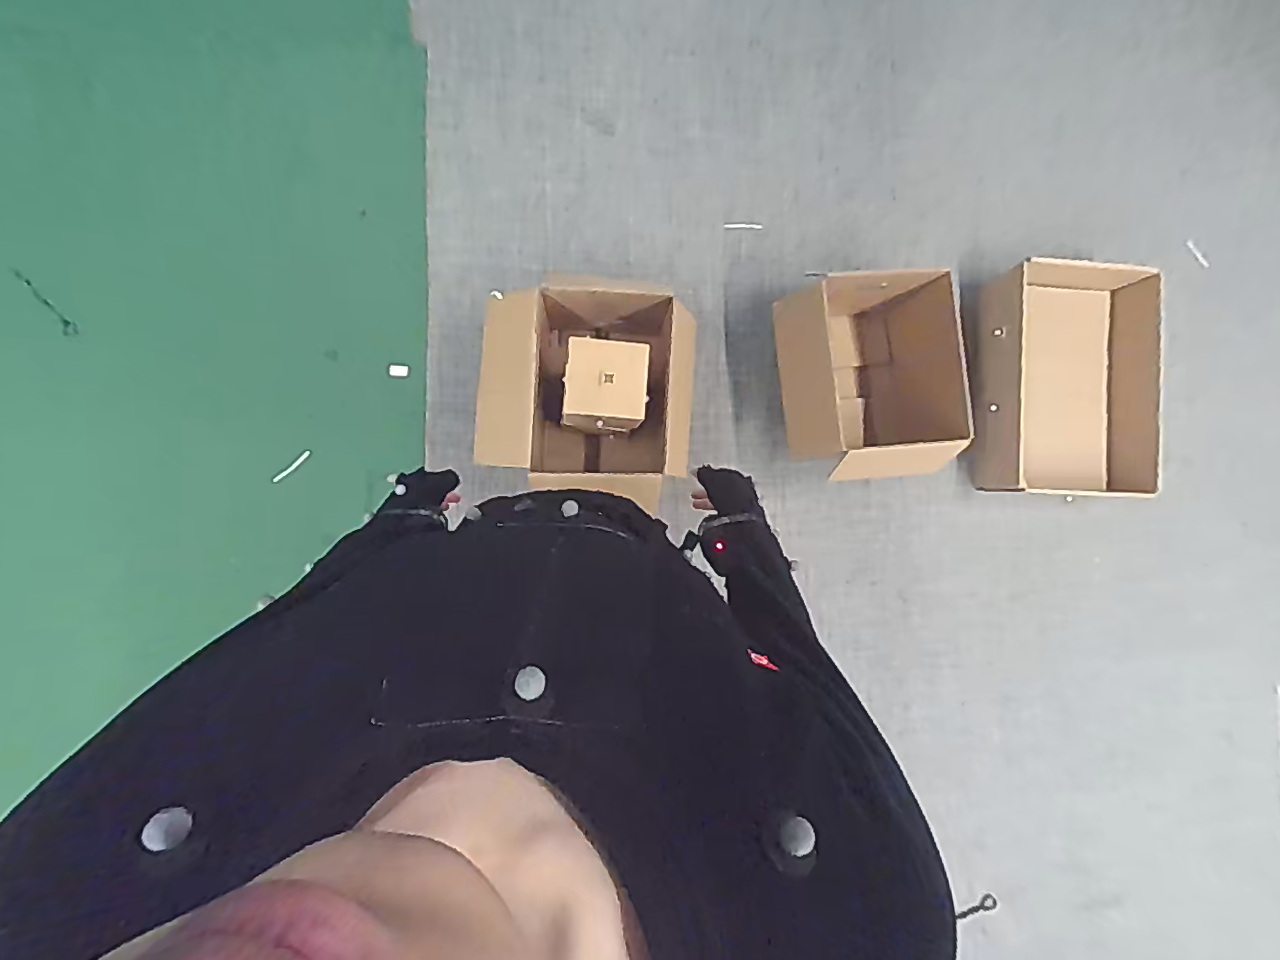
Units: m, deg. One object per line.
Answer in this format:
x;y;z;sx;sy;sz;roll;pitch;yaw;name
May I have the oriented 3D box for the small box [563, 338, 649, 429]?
-0.081;-0.211;1.233;0.179;0.176;0.168;4;87;-6;small box
